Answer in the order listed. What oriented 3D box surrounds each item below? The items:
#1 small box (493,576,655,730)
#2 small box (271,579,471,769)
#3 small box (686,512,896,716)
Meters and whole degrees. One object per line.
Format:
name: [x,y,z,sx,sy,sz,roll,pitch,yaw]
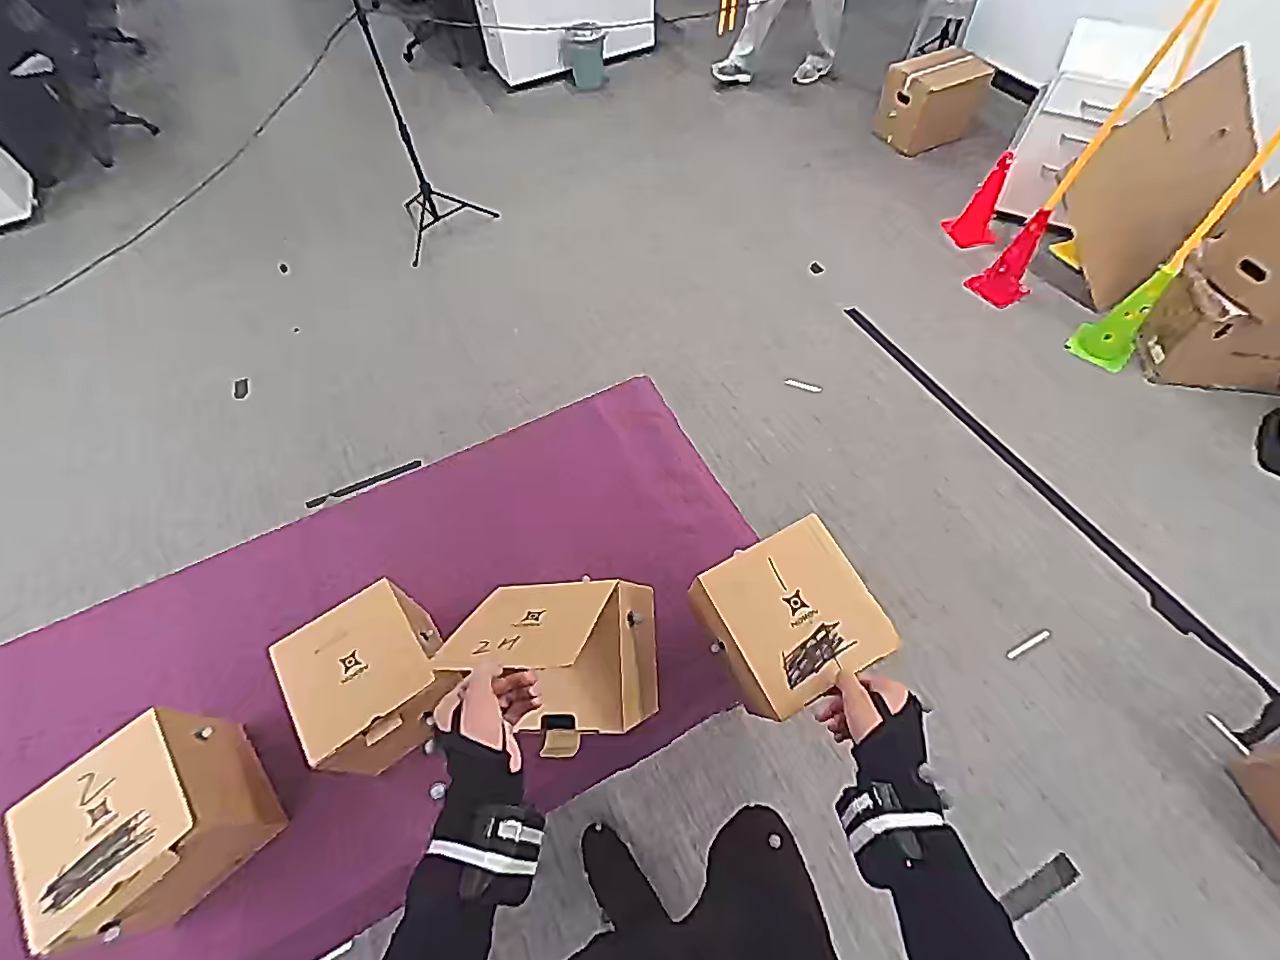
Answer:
small box: [-0.079,0.229,0.729,0.168,0.176,0.179,-6,73,15]
small box: [-0.363,0.276,0.757,0.168,0.176,0.179,-32,62,-17]
small box: [0.172,0.170,0.679,0.168,0.176,0.179,-27,71,-10]
